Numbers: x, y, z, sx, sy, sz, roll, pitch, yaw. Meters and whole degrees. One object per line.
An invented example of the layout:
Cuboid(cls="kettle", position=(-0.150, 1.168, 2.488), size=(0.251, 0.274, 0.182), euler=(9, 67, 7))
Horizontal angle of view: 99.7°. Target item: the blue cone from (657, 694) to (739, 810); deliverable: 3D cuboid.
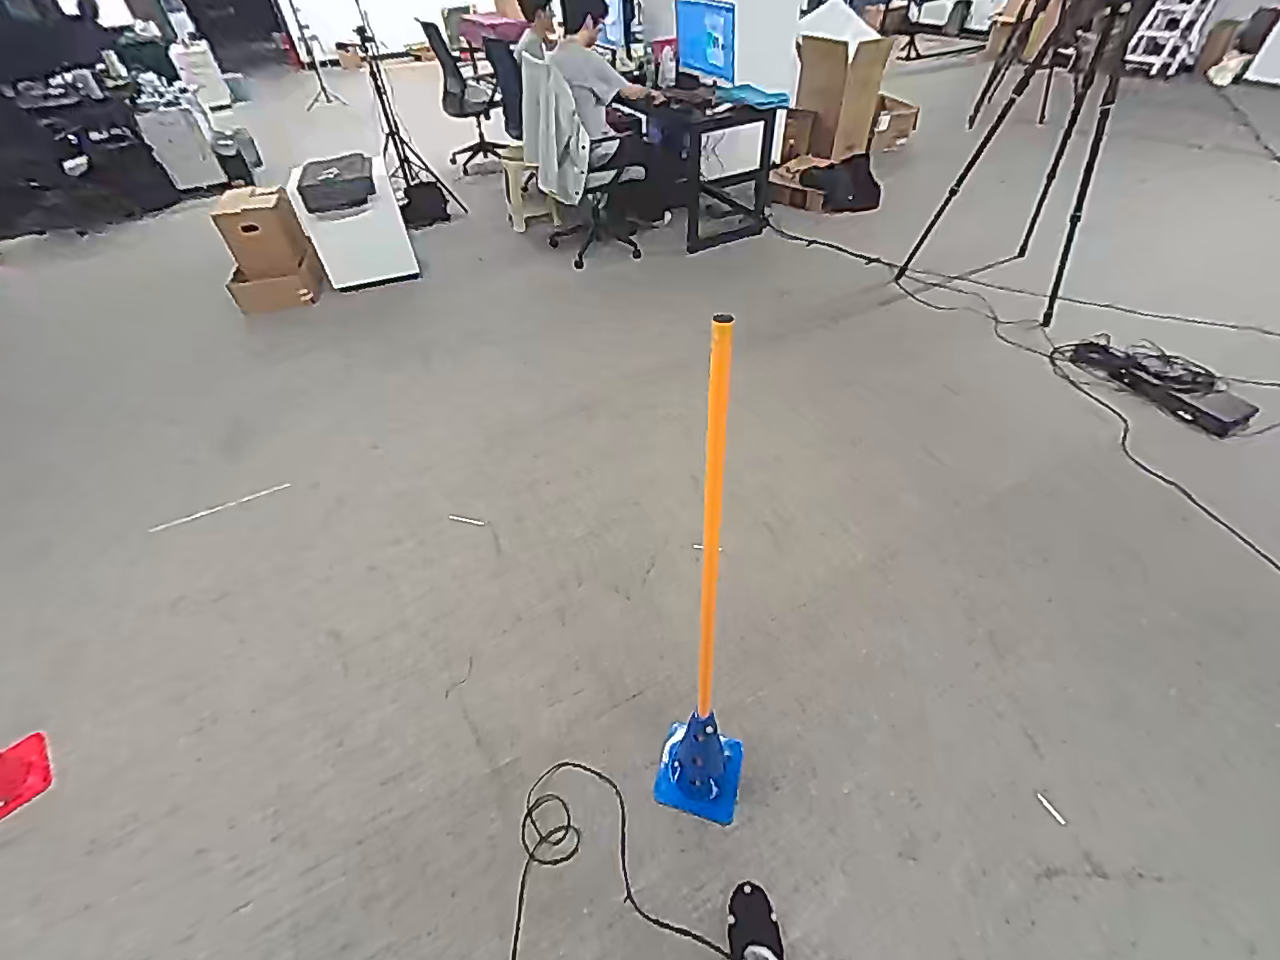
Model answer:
Cuboid(cls="blue cone", position=(0.141, 0.594, 1.253), size=(0.192, 0.380, 0.193), euler=(10, 45, 13))
